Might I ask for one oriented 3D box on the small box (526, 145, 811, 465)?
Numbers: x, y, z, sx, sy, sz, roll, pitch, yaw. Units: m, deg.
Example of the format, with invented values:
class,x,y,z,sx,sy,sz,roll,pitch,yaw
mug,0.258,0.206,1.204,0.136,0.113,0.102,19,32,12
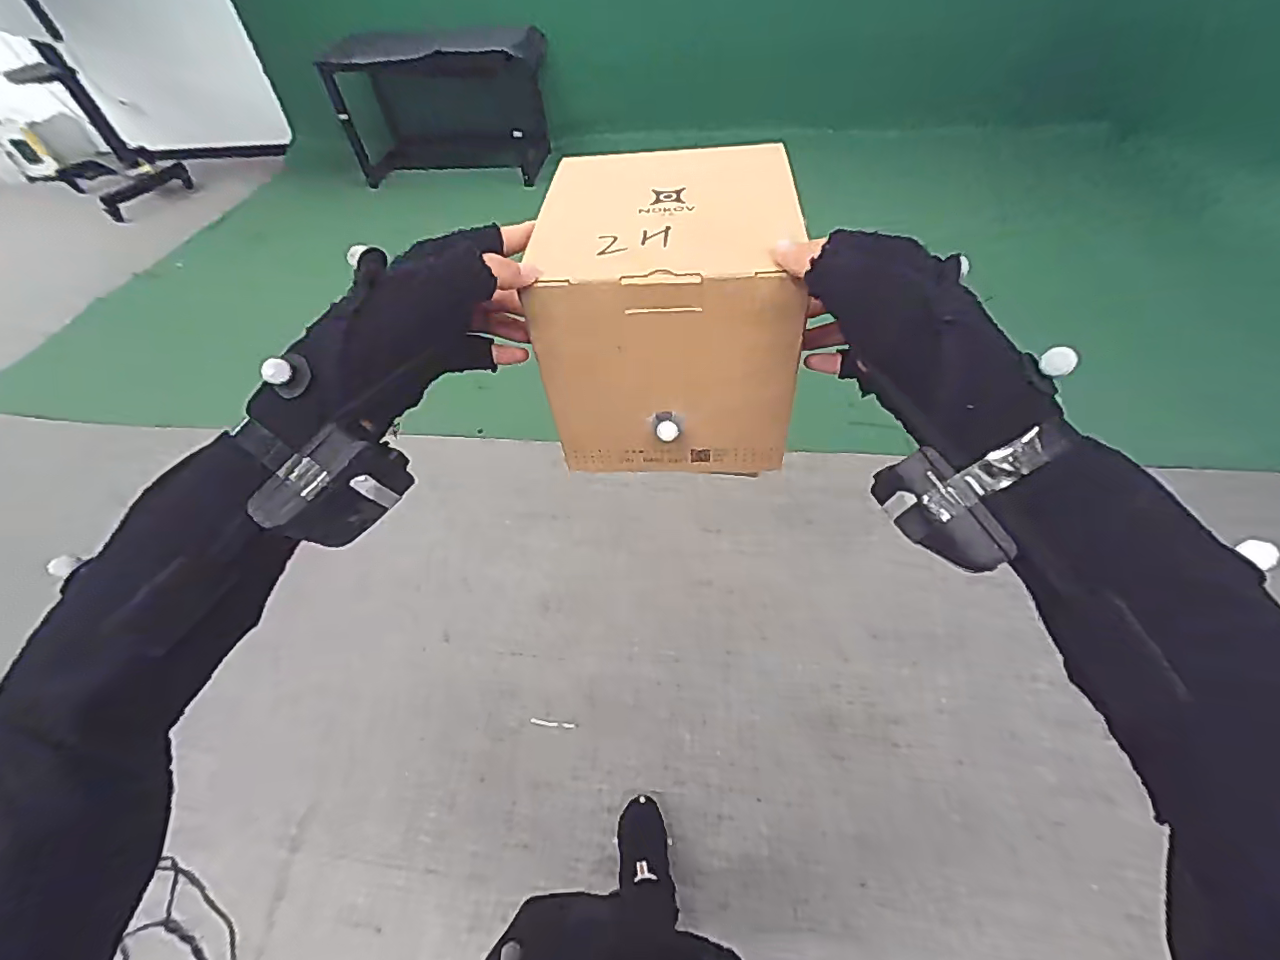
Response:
class,x,y,z,sx,sy,sz,roll,pitch,yaw
small box,0.027,-0.132,0.418,0.168,0.176,0.179,0,50,7
